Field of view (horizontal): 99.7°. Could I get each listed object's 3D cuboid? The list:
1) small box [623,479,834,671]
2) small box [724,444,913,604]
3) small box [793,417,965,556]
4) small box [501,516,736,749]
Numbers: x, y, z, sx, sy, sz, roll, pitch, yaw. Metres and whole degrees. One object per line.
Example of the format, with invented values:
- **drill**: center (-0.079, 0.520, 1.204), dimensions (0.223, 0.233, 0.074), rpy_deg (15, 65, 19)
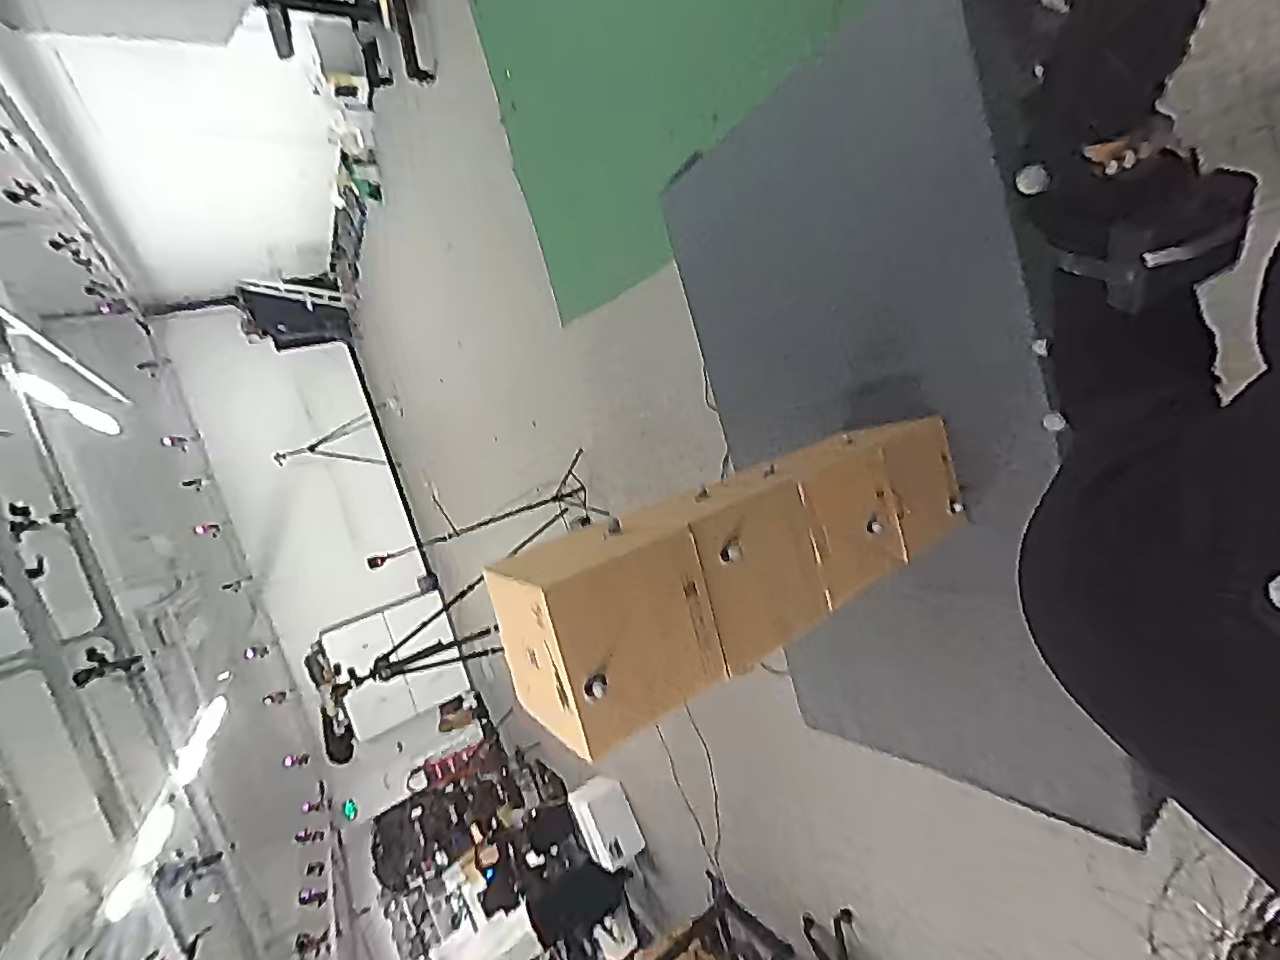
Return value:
- **small box**: center (0.108, 0.100, 0.665), dimensions (0.168, 0.176, 0.179), rpy_deg (-6, 102, 58)
- **small box**: center (0.240, 0.055, 0.753), dimensions (0.179, 0.176, 0.168), rpy_deg (-8, 99, 58)
- **small box**: center (0.371, 0.009, 0.836), dimensions (0.179, 0.176, 0.168), rpy_deg (-9, 99, 60)
- **small box**: center (-0.026, 0.142, 0.581), dimensions (0.179, 0.176, 0.168), rpy_deg (-4, 103, 58)
